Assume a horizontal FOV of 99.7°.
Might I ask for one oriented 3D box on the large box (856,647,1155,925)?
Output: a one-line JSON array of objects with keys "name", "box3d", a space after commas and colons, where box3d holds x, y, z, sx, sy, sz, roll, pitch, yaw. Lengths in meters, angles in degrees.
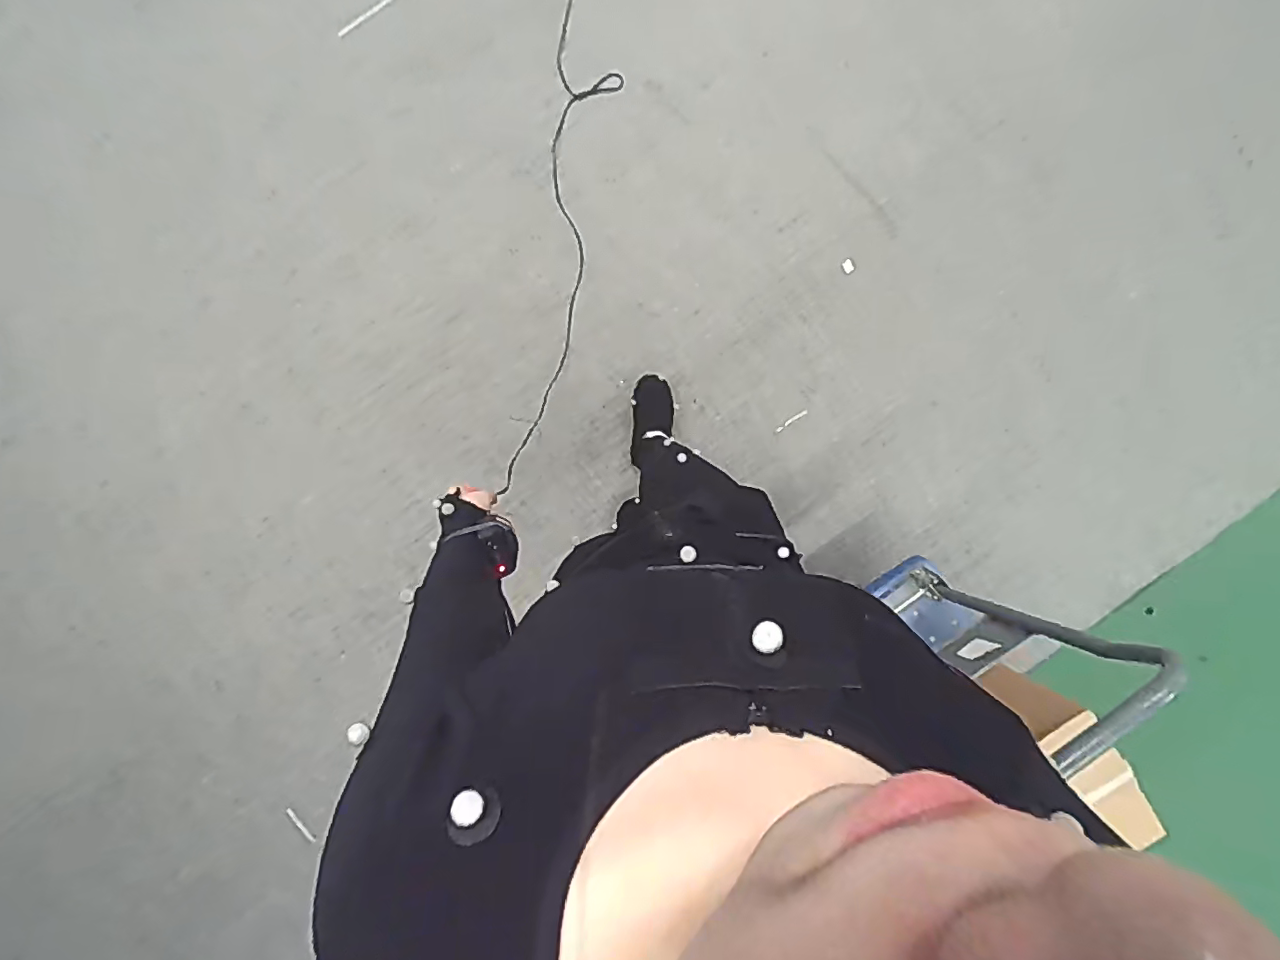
[{"name": "large box", "box3d": [0.791, 0.656, 1.228, 0.408, 0.320, 0.320, -33, 92, 0]}]
